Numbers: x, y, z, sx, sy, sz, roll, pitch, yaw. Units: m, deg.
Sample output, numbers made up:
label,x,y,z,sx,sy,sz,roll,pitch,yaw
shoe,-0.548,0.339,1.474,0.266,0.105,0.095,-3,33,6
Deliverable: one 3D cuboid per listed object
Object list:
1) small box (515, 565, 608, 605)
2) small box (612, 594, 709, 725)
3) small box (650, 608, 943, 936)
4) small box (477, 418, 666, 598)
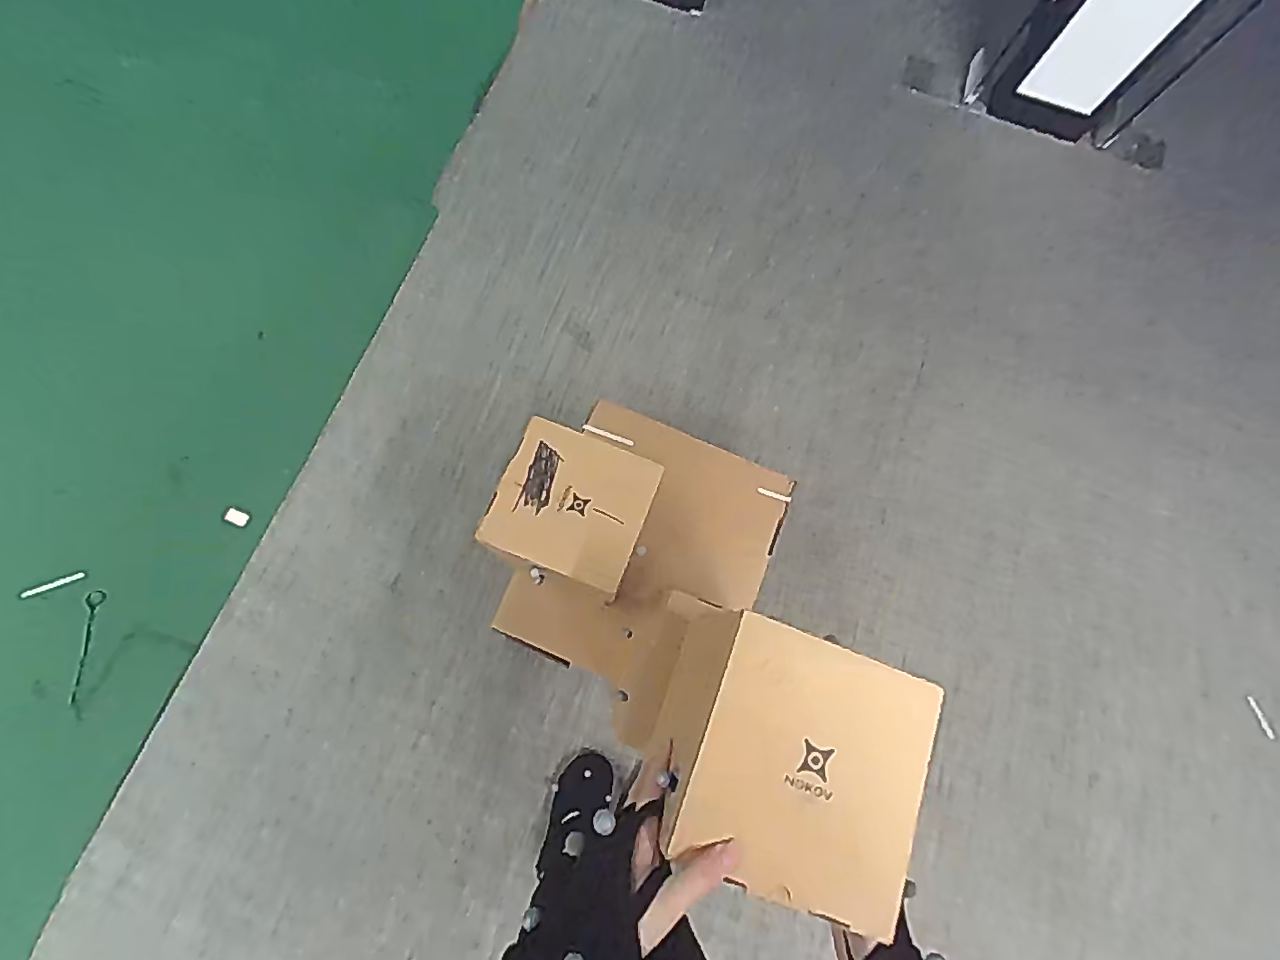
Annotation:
label,x,y,z,sx,sy,sz,roll,pitch,yaw
small box,-0.099,0.086,0.865,0.168,0.176,0.179,22,73,2
small box,0.067,0.283,0.826,0.179,0.176,0.168,20,74,1
small box,0.116,0.220,0.461,0.168,0.176,0.179,21,75,-1
small box,-0.082,0.047,0.704,0.179,0.176,0.168,21,74,2
